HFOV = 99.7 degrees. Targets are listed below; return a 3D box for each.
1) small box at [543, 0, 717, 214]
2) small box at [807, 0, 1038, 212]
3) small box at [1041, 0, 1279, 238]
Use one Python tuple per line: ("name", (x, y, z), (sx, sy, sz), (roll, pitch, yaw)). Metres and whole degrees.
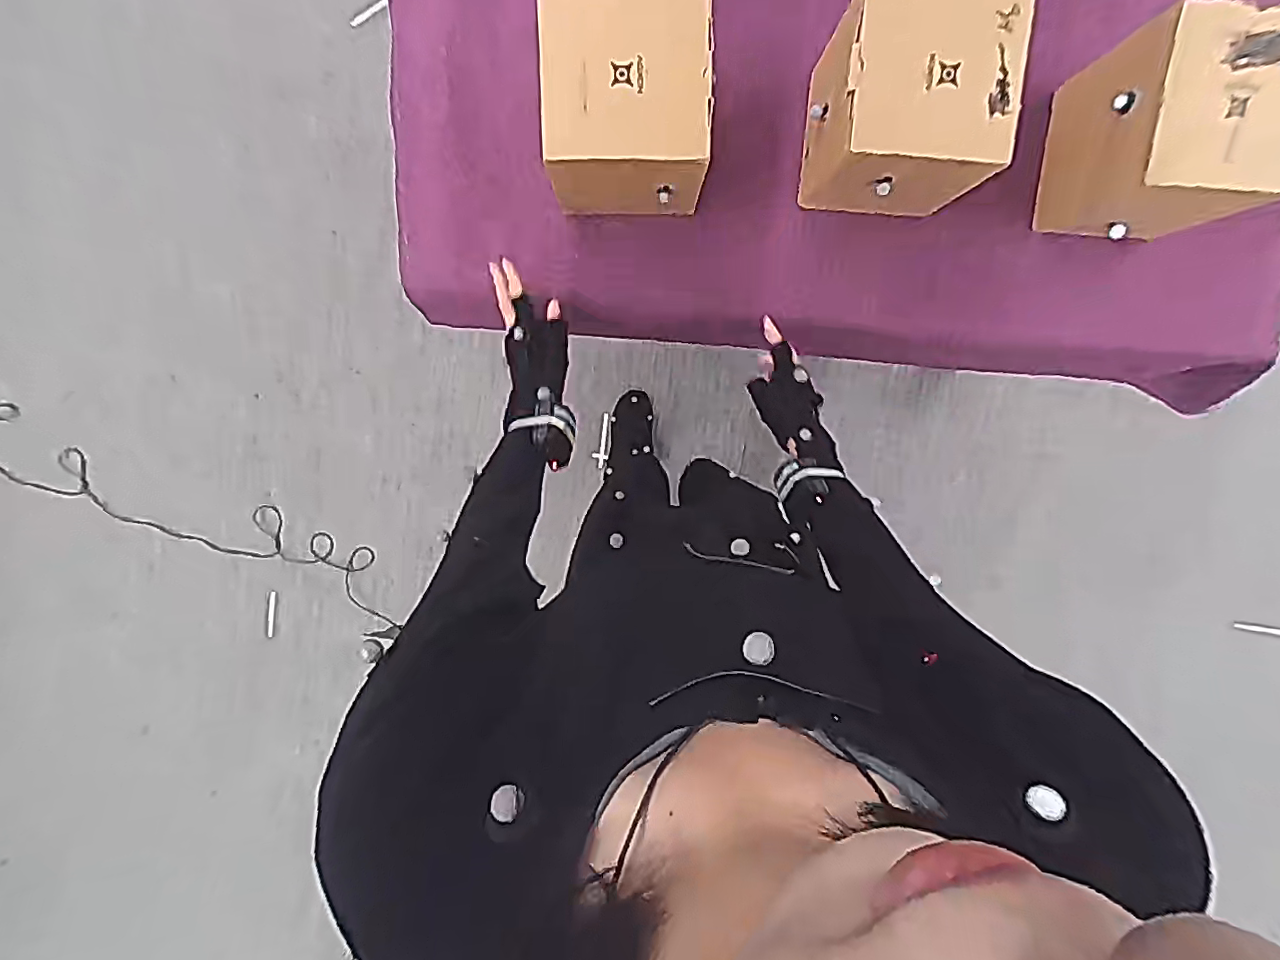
("small box", (-0.011, -0.423, 0.624), (0.179, 0.176, 0.168), (-1, 97, 0))
("small box", (0.306, -0.428, 0.626), (0.179, 0.176, 0.168), (4, 98, 0))
("small box", (0.616, -0.404, 0.632), (0.168, 0.176, 0.179), (4, 99, -1))
